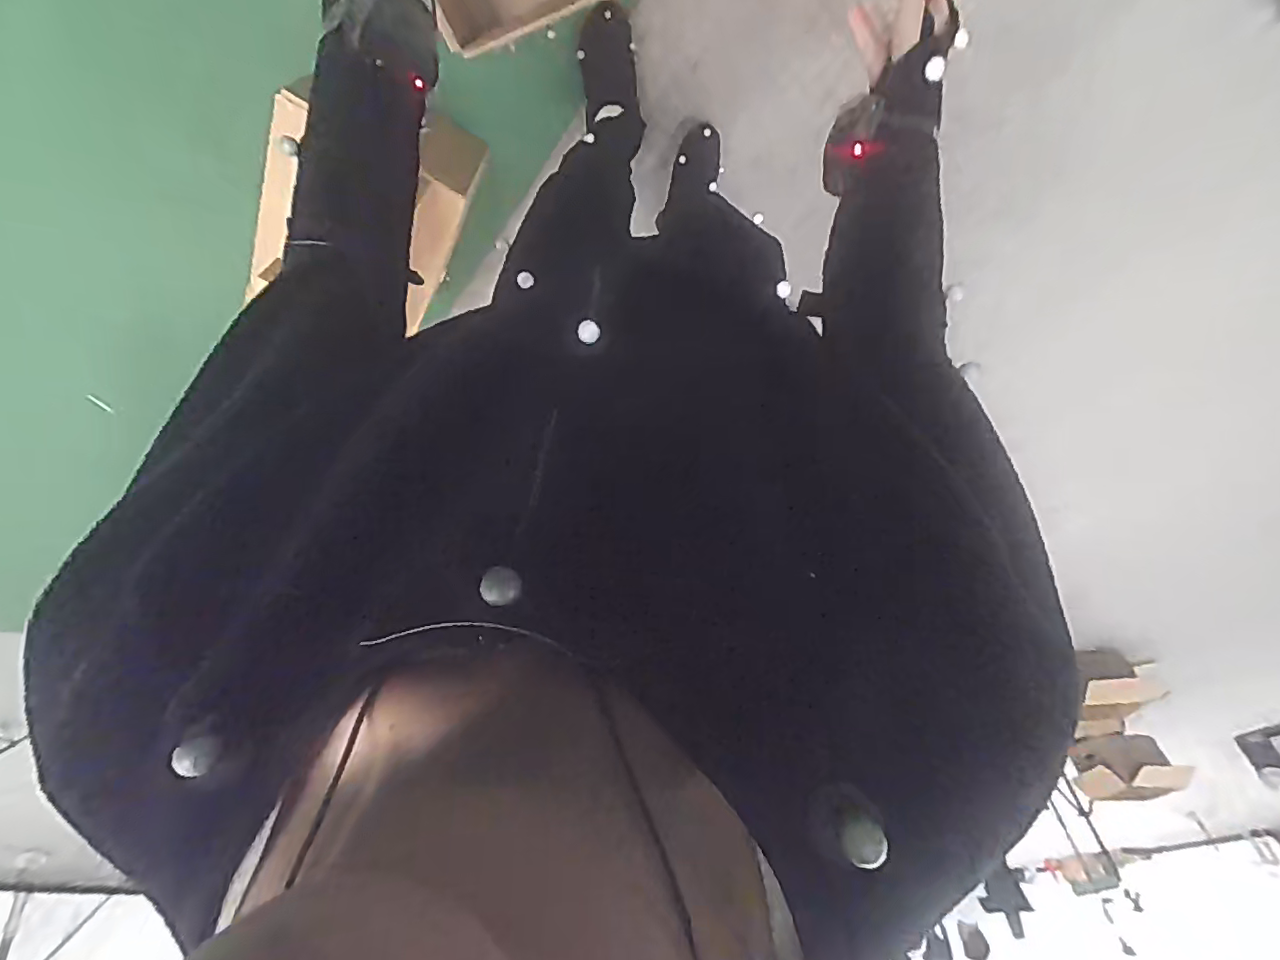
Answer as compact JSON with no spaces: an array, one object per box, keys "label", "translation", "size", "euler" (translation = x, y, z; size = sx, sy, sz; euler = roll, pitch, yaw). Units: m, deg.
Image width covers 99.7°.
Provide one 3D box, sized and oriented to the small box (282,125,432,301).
[{"label":"small box","translation":[-0.465,-0.445,0.904],"size":[0.168,0.176,0.179],"euler":[22,130,-25]}]
